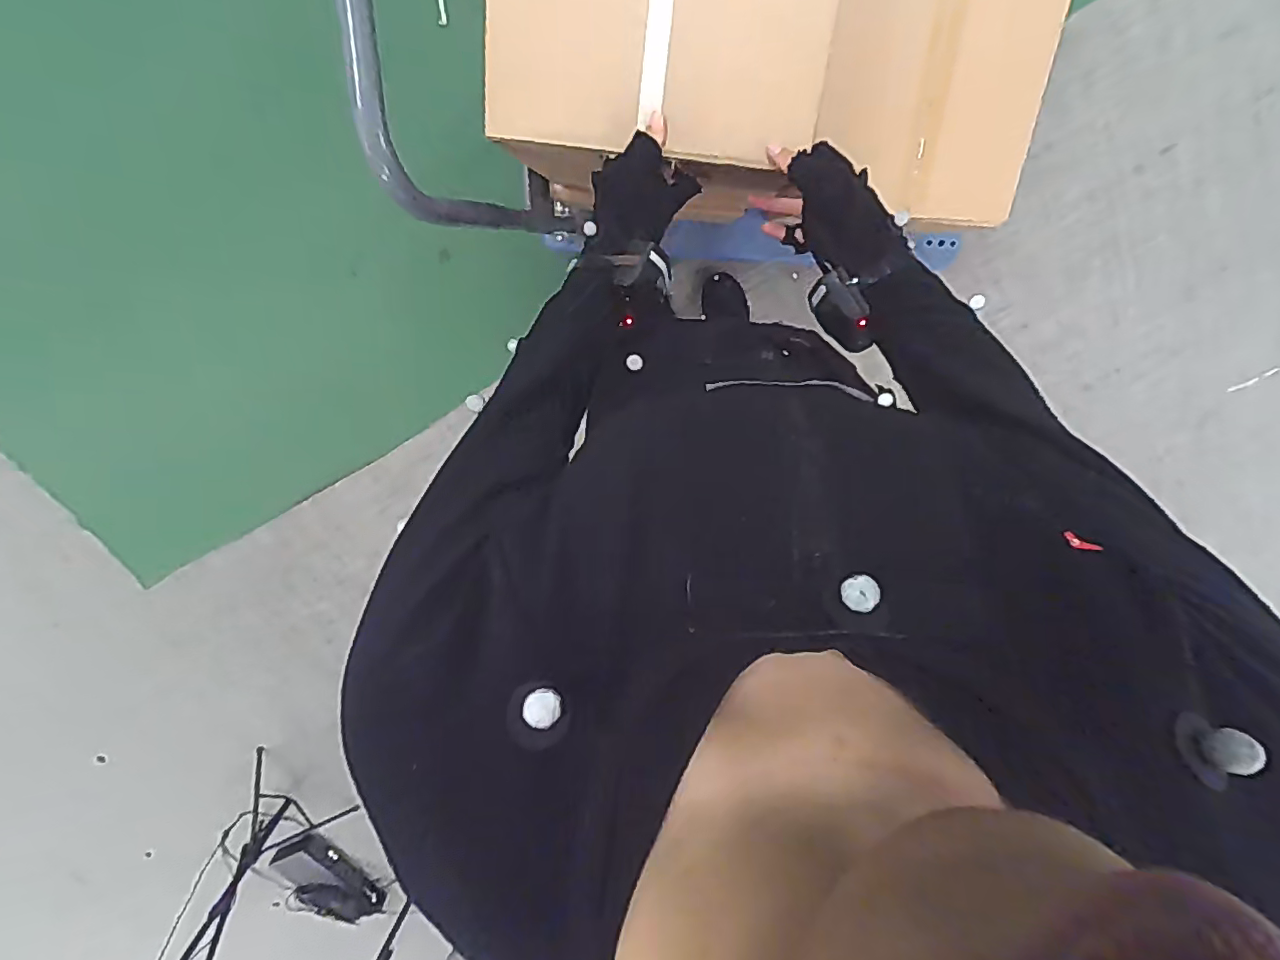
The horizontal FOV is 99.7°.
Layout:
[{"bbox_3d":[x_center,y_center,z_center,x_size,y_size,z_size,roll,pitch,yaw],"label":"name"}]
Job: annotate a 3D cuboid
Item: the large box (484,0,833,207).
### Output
[{"bbox_3d":[0.035,-0.548,0.589,0.320,0.320,0.408,8,111,1],"label":"large box"}]
